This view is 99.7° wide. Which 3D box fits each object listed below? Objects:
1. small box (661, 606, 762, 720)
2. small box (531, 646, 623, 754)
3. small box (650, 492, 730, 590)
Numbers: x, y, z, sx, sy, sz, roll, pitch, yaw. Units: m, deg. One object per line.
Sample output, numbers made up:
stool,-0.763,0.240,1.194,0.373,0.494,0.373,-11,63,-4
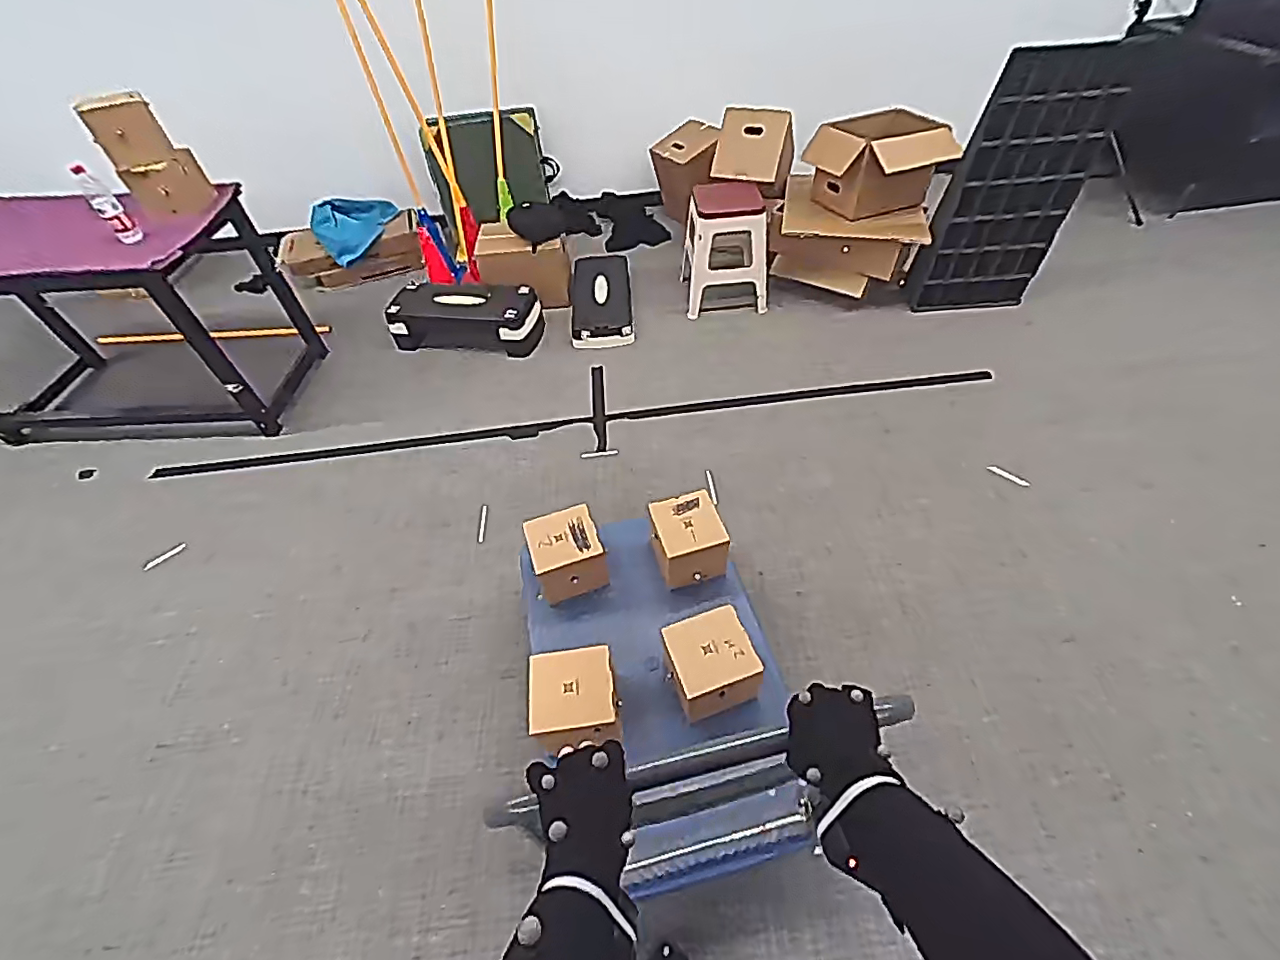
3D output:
small box,0.160,0.420,1.230,0.179,0.176,0.168,-17,51,-9
small box,-0.137,0.491,1.198,0.179,0.176,0.168,-7,50,-3
small box,0.128,0.165,1.449,0.168,0.176,0.179,-15,51,-8
